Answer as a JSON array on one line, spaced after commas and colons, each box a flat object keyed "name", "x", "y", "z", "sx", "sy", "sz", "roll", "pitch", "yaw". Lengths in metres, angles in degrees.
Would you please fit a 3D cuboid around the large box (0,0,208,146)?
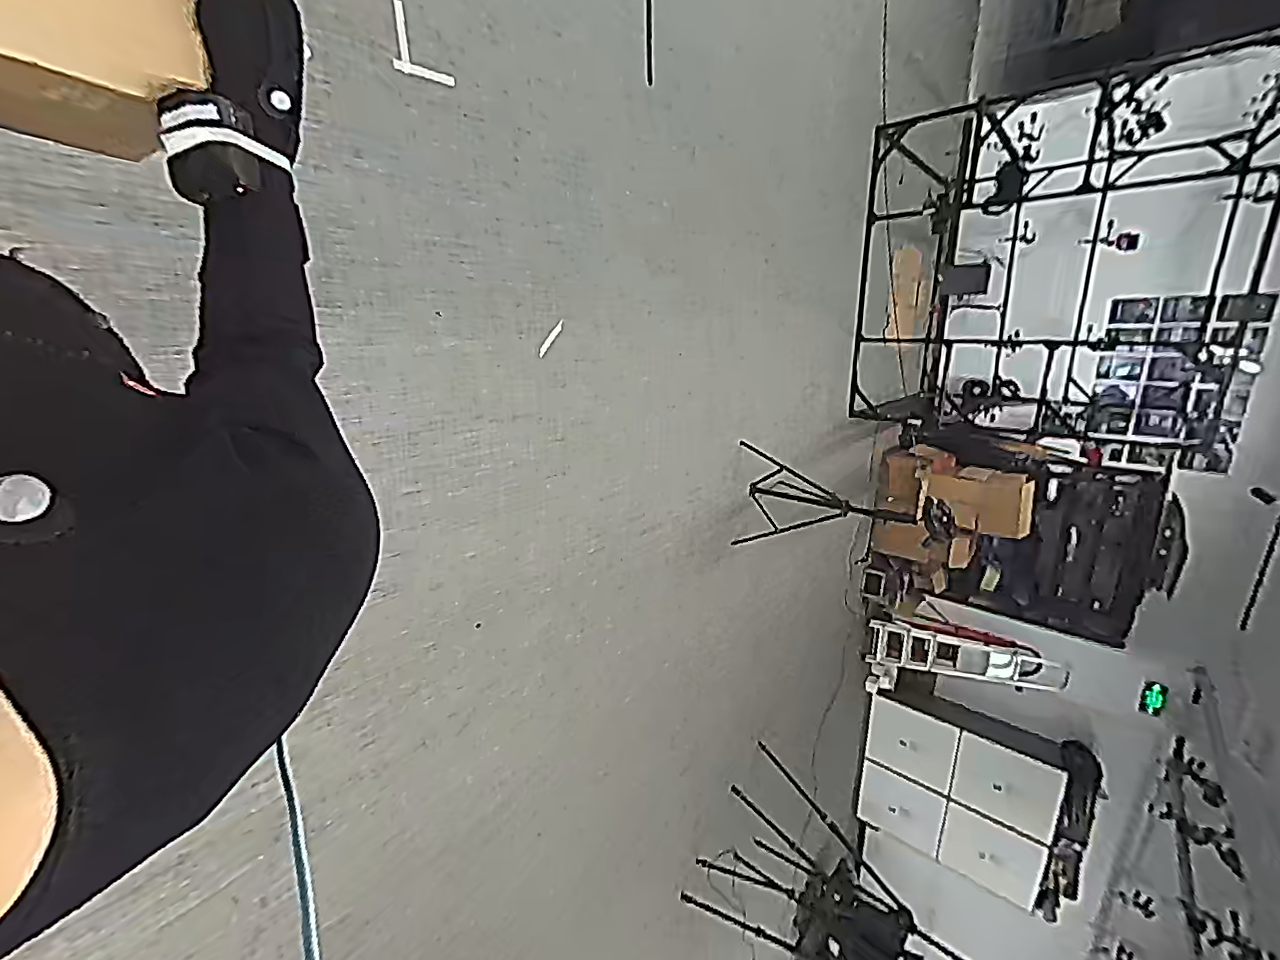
[{"name": "large box", "x": -0.564, "y": -0.450, "z": 0.325, "sx": 0.408, "sy": 0.320, "sz": 0.320, "roll": -11, "pitch": 114, "yaw": -50}]
